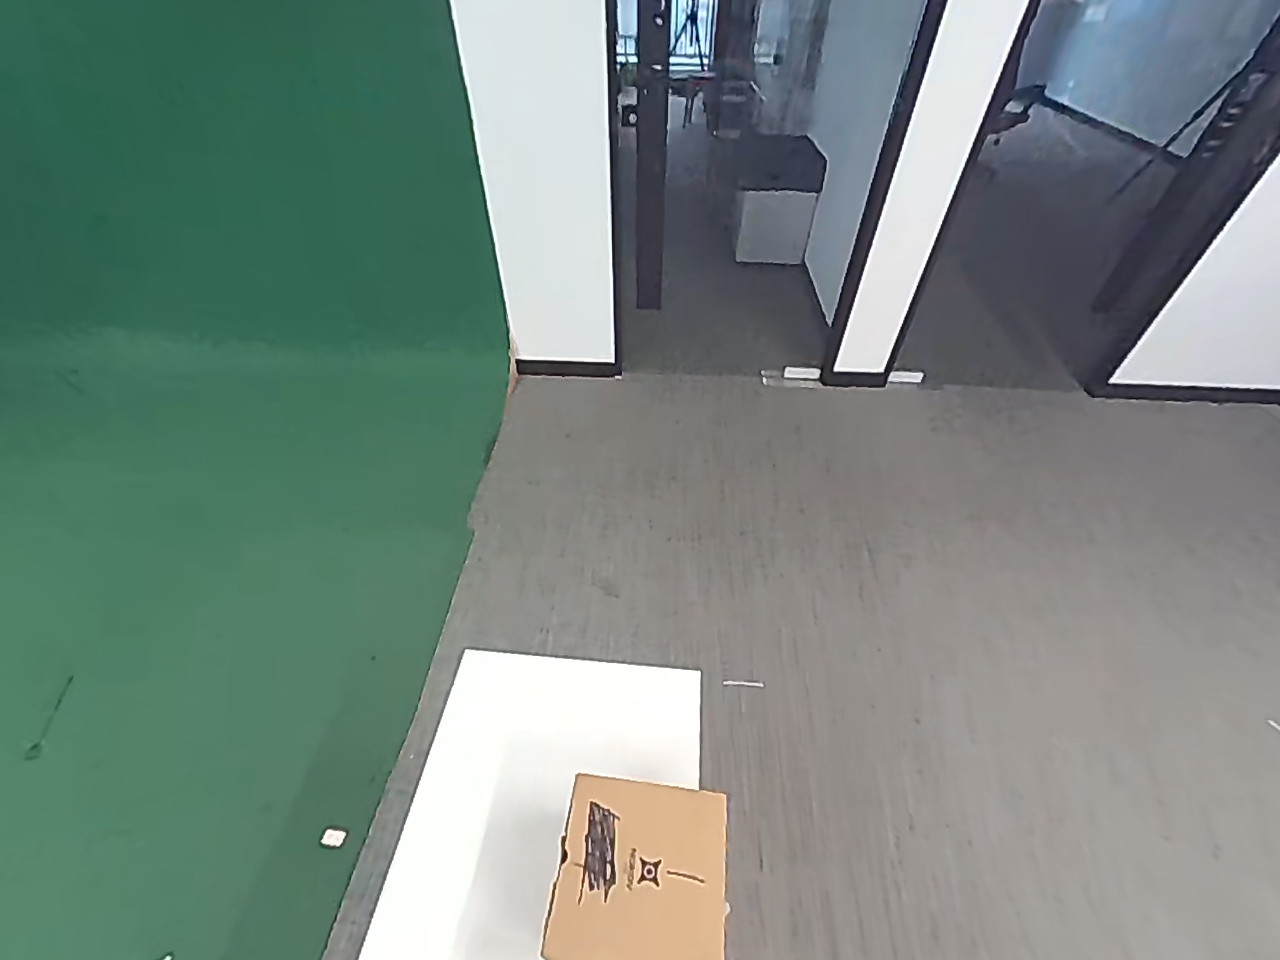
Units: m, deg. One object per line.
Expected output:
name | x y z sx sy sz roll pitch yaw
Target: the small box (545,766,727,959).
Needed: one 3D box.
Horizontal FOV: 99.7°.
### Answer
small box | 0.003 0.459 0.629 0.179 0.176 0.168 6 46 5
